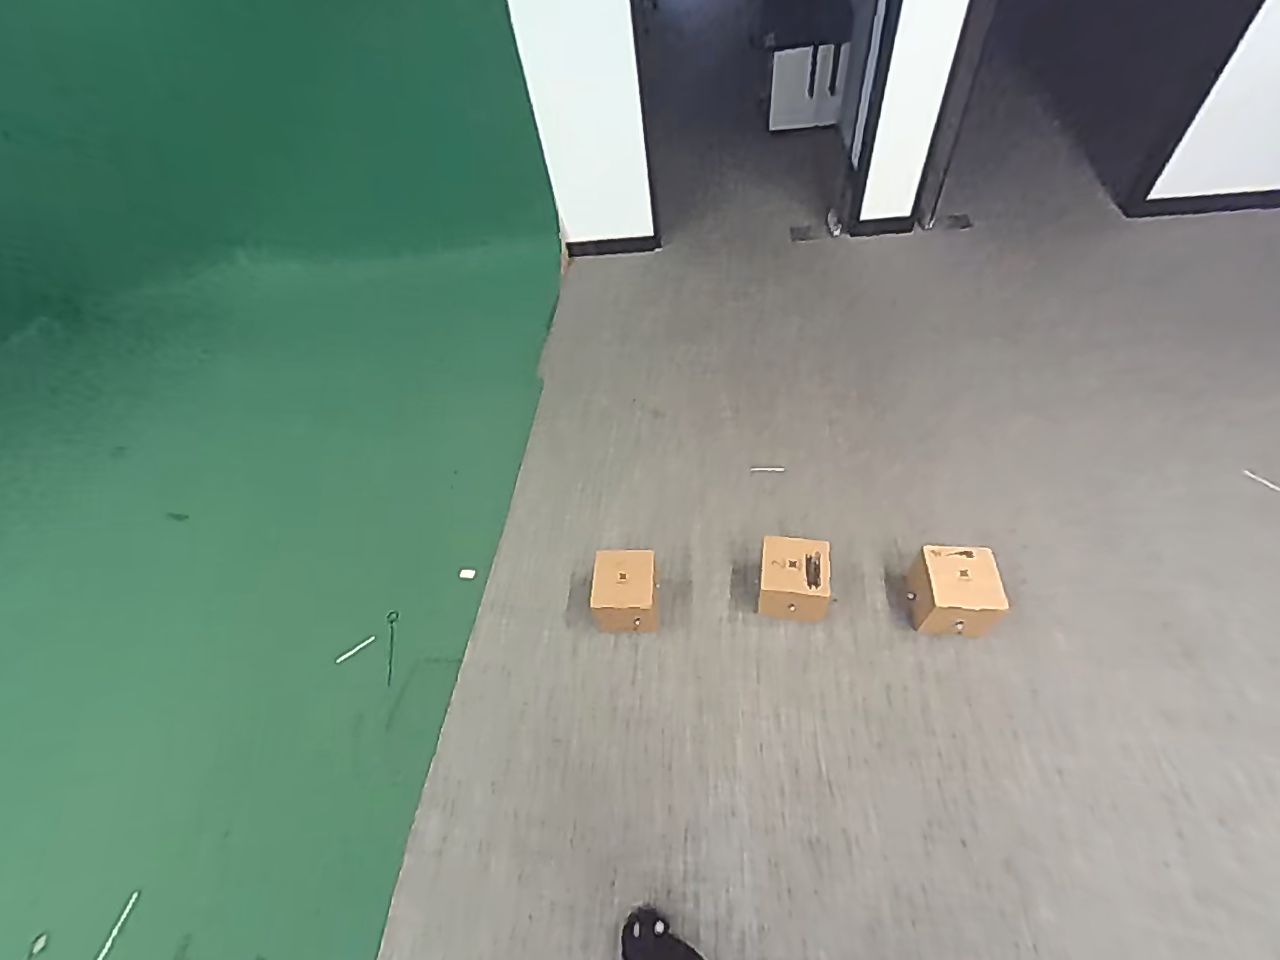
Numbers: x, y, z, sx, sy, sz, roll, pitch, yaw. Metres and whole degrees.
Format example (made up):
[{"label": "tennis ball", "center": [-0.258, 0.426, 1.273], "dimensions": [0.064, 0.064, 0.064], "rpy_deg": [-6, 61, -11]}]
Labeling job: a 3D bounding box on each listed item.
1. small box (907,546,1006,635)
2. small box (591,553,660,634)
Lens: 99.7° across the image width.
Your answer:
[{"label": "small box", "center": [0.816, 0.292, 1.413], "dimensions": [0.168, 0.176, 0.179], "rpy_deg": [2, 53, 10]}, {"label": "small box", "center": [-0.033, 0.323, 1.528], "dimensions": [0.168, 0.176, 0.179], "rpy_deg": [-1, 52, 7]}]
